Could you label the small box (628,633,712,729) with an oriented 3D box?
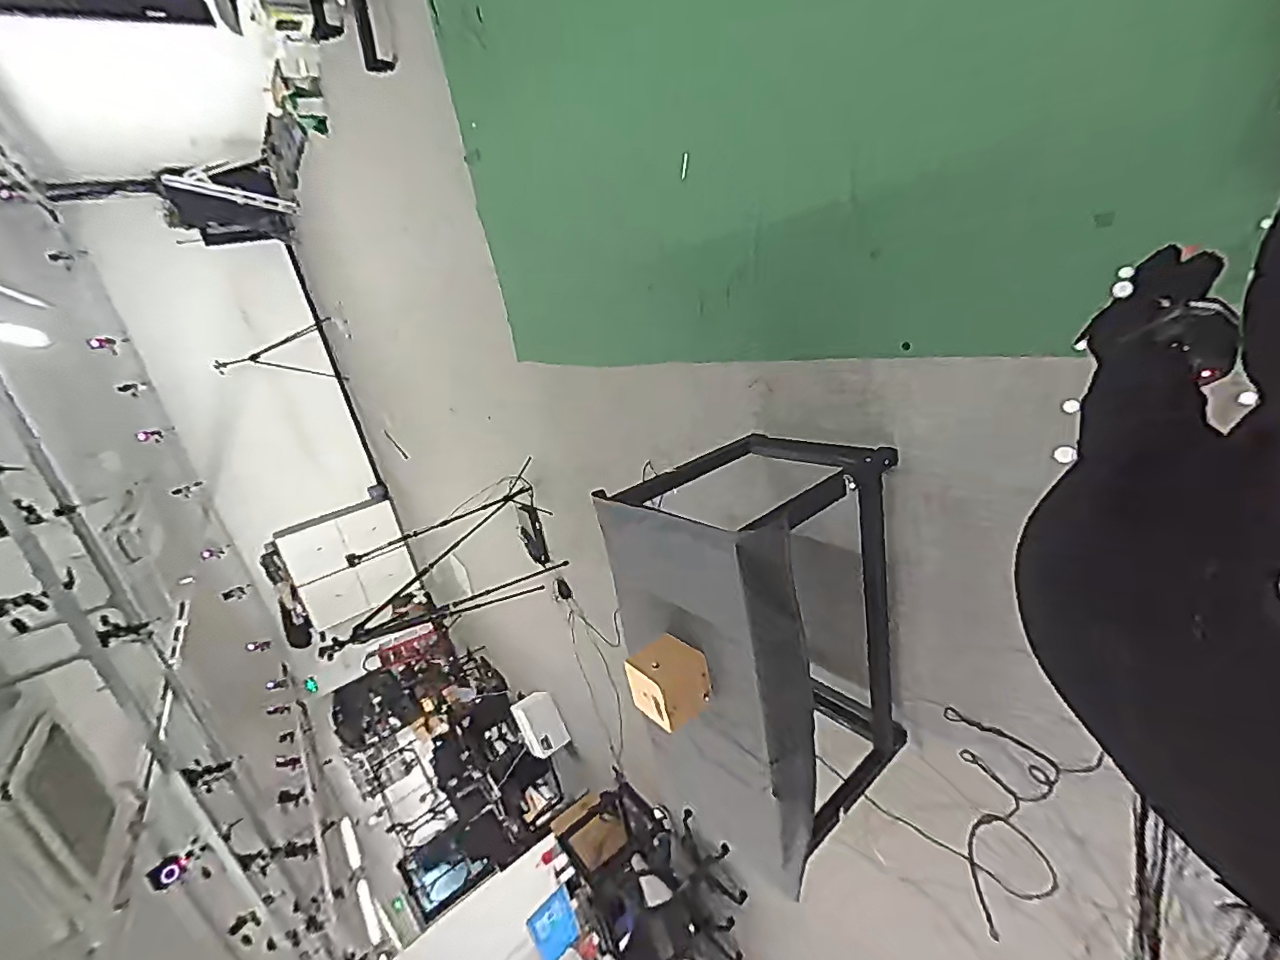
[{"bbox_3d":[0.093,0.572,1.567,0.179,0.176,0.168,14,122,54],"label":"small box"}]
